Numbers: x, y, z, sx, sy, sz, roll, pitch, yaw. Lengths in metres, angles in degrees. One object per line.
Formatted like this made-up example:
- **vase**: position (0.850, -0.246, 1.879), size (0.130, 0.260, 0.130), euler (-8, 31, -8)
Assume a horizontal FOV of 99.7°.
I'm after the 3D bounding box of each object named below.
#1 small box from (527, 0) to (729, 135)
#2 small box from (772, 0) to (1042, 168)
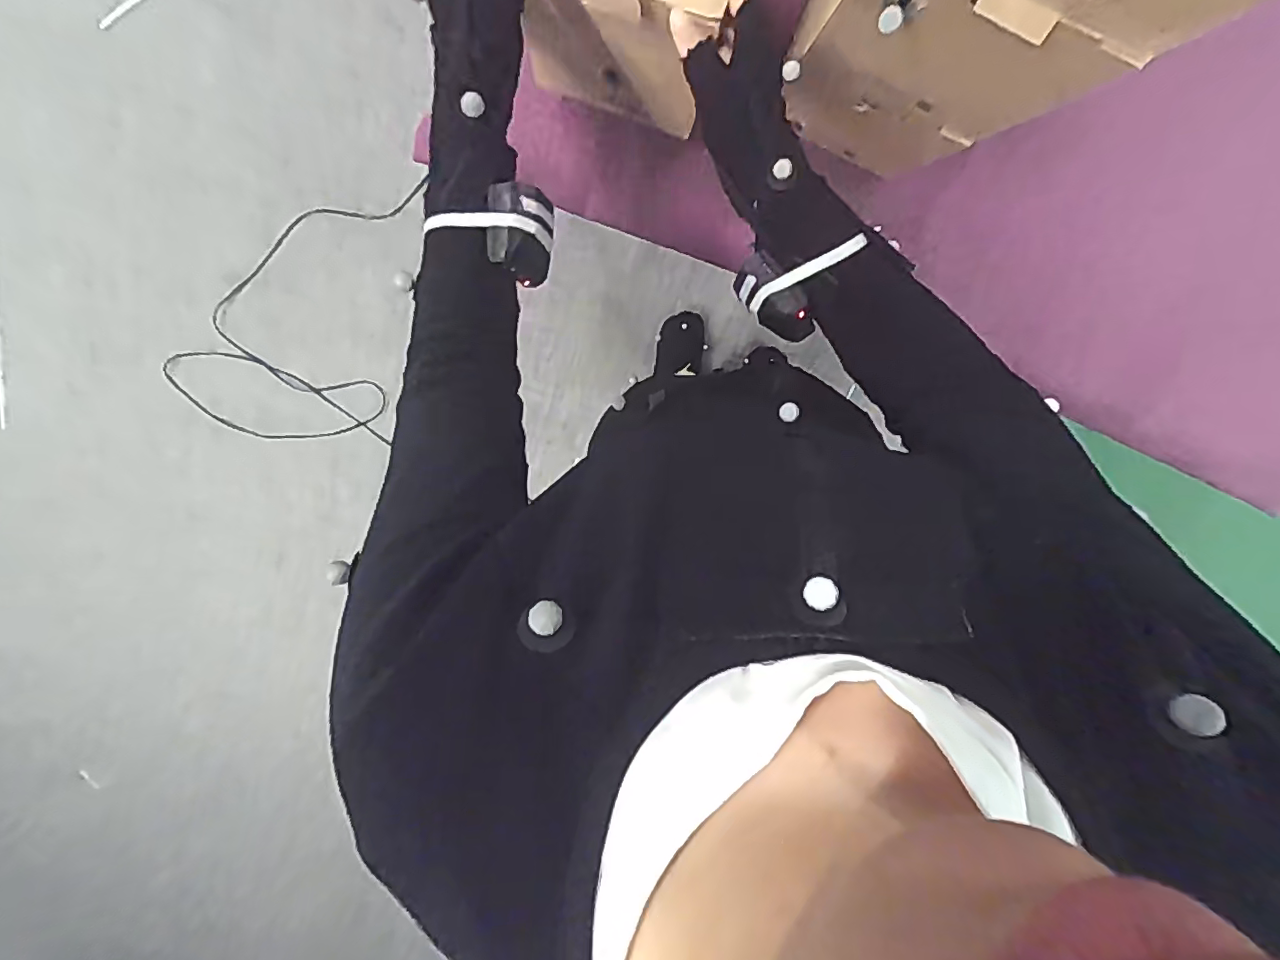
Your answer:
- **small box**: position (0.000, -0.452, 0.468), size (0.168, 0.176, 0.179), euler (17, 94, -5)
- **small box**: position (0.238, -0.422, 0.500), size (0.168, 0.176, 0.179), euler (21, 108, -7)
